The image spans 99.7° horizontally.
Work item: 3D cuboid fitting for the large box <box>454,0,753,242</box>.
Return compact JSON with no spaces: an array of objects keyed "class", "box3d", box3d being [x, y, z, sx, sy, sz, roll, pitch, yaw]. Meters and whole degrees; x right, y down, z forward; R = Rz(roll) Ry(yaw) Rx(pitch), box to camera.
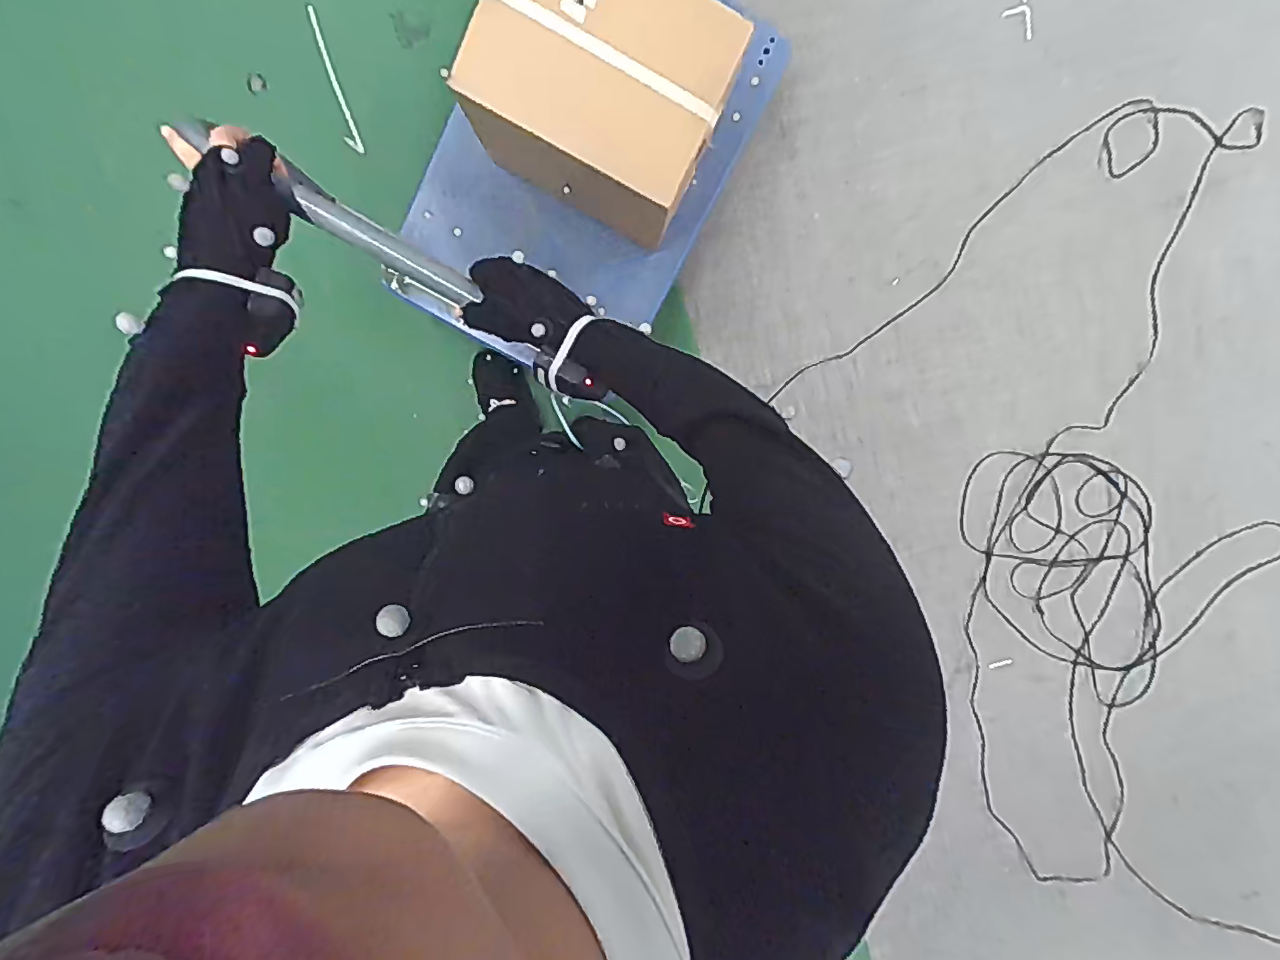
[{"class":"large box","box3d":[-0.062,-0.713,1.016,0.408,0.320,0.320,26,98,-7]}]
